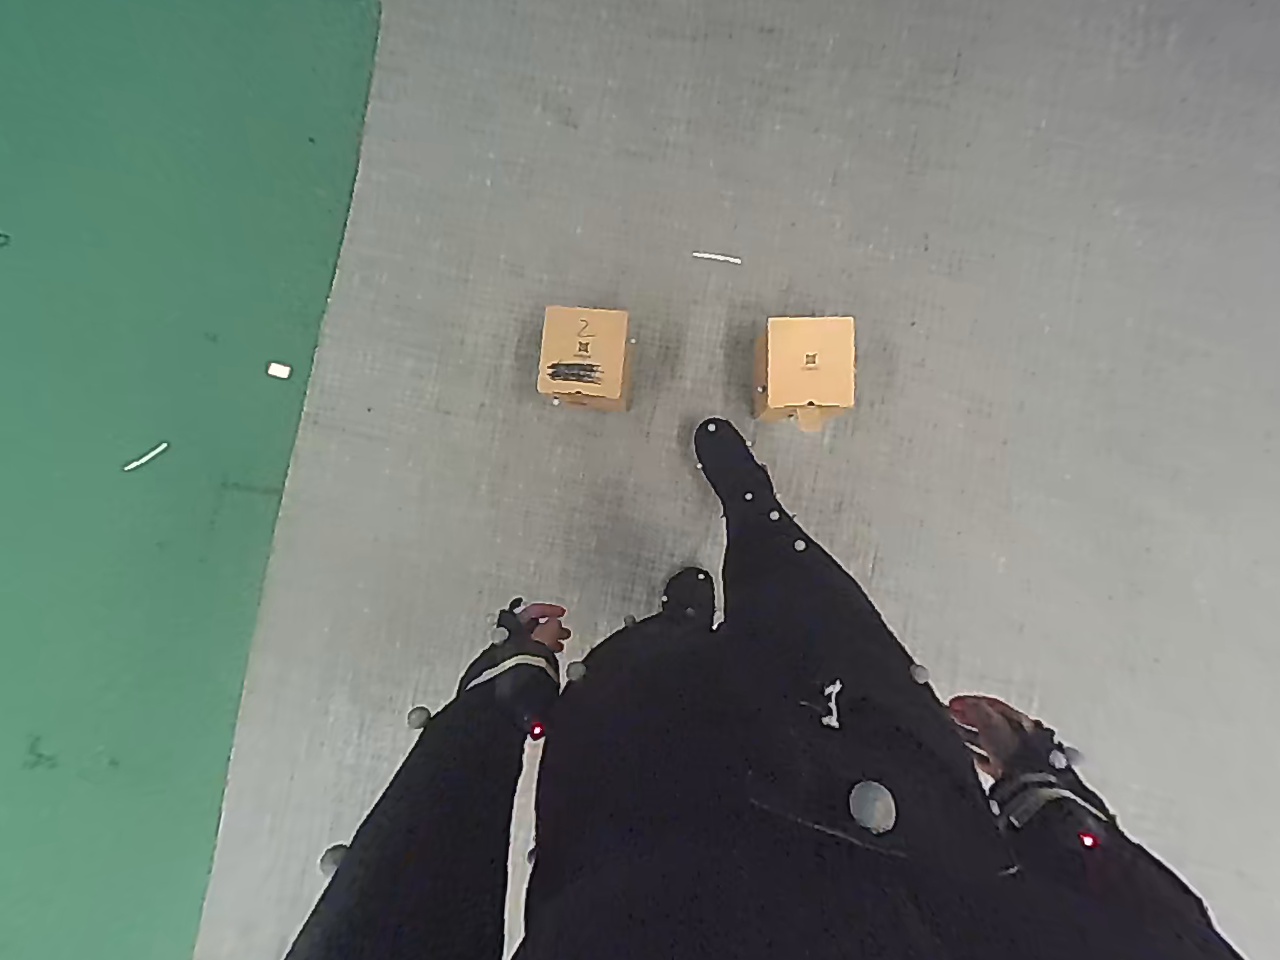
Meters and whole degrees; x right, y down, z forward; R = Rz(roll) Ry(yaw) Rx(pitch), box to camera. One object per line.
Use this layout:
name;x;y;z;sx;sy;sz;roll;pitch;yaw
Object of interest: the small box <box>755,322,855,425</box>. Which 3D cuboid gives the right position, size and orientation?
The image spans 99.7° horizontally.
small box;0.333;-0.214;1.116;0.168;0.176;0.179;0;88;3
